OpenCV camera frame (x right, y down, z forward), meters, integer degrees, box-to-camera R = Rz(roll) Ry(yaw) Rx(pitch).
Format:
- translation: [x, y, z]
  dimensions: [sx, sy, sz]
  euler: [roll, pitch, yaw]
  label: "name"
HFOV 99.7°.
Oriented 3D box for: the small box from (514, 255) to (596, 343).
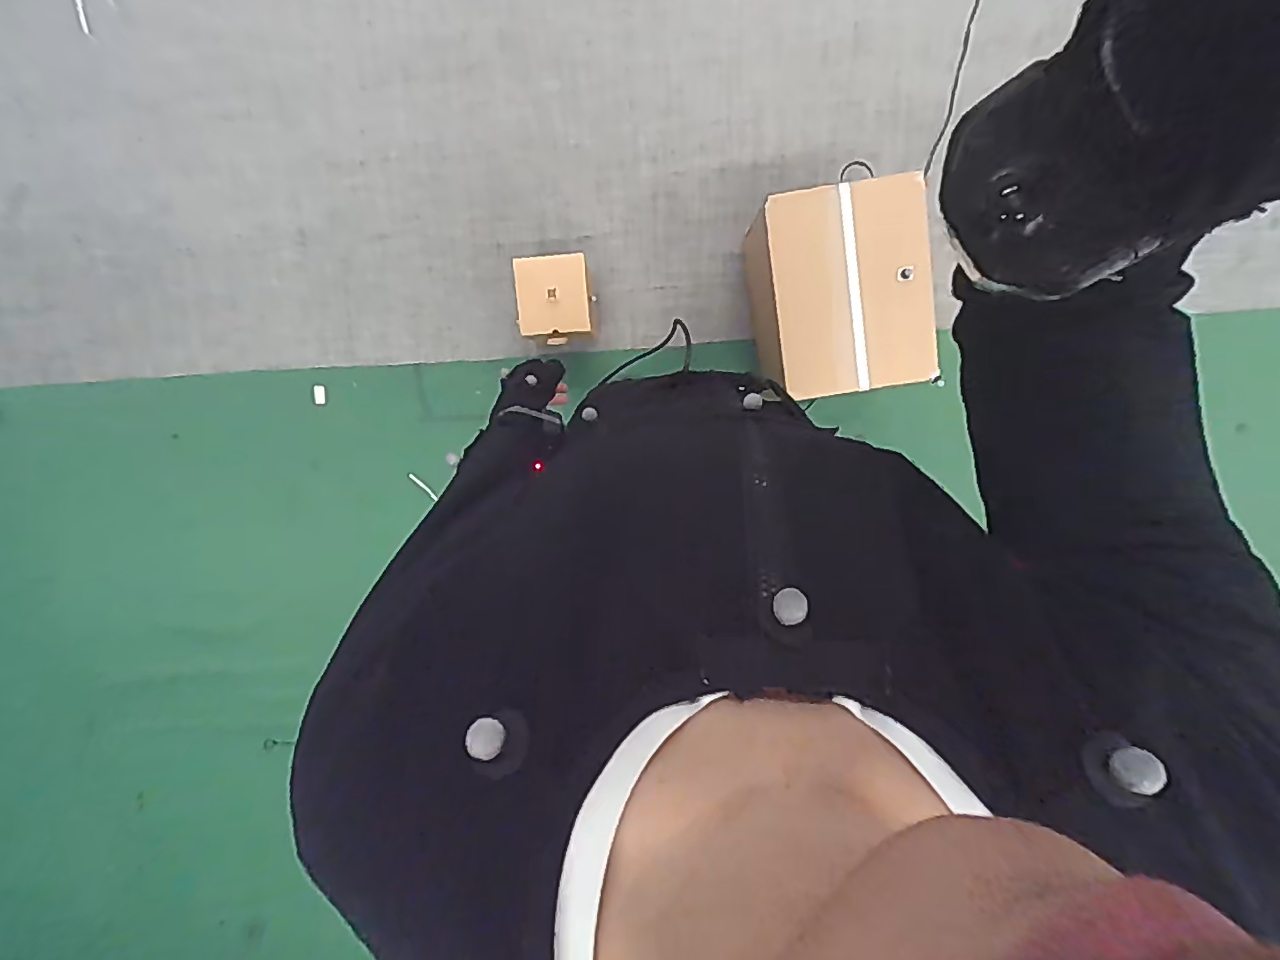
- translation: [-0.202, -0.437, 1.327]
  dimensions: [0.168, 0.176, 0.179]
  euler: [-4, 101, 2]
  label: "small box"
